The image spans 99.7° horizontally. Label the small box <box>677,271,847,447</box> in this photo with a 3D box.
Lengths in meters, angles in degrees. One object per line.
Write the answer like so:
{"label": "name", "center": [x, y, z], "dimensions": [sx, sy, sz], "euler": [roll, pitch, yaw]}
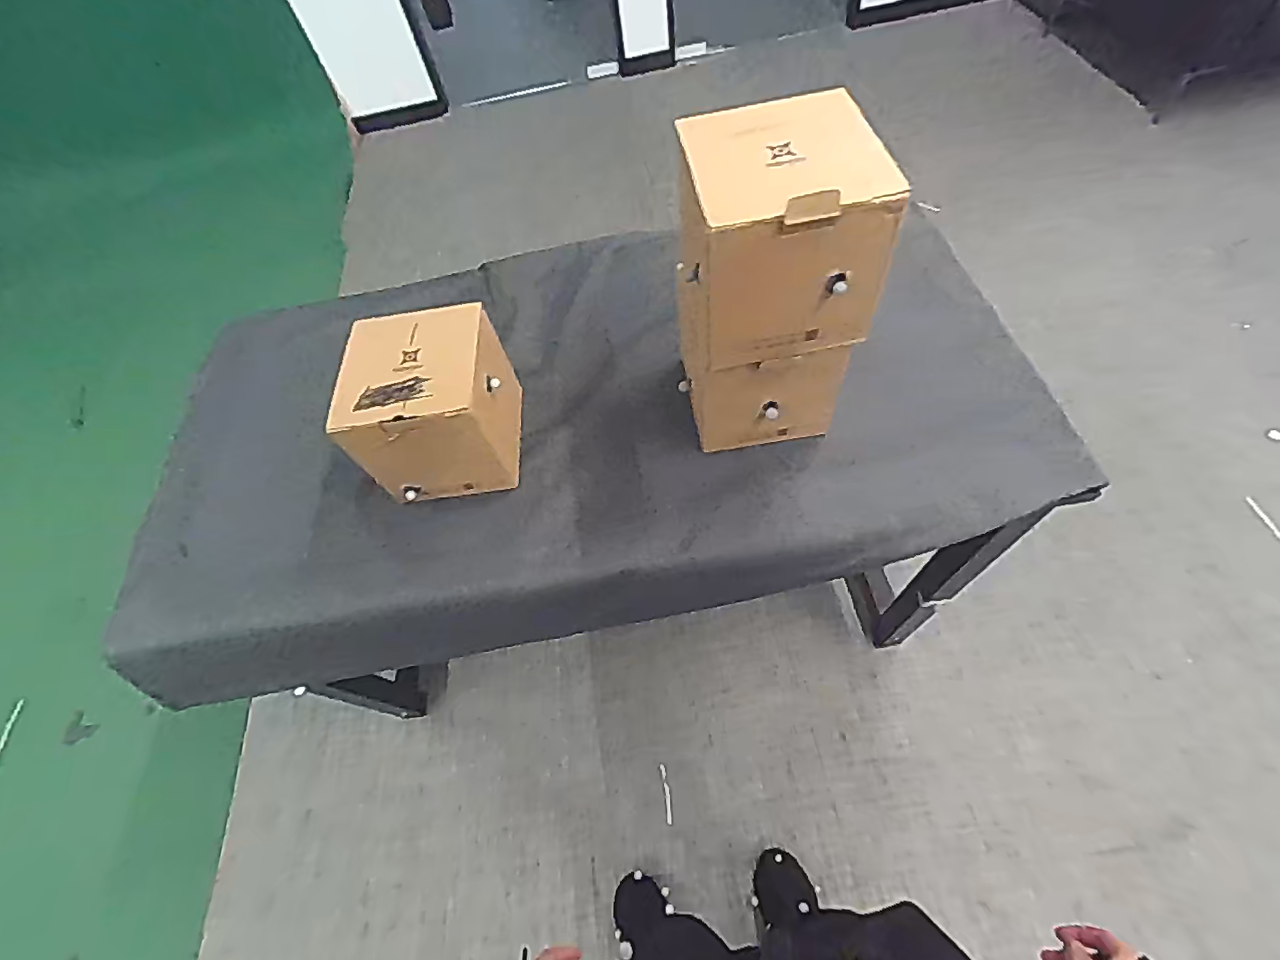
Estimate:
{"label": "small box", "center": [0.144, -0.156, 0.689], "dimensions": [0.168, 0.176, 0.179], "euler": [-9, 58, 2]}

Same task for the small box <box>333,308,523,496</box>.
{"label": "small box", "center": [-0.257, -0.090, 0.704], "dimensions": [0.168, 0.176, 0.179], "euler": [-7, 57, 3]}

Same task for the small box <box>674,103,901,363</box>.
{"label": "small box", "center": [0.132, -0.237, 0.548], "dimensions": [0.168, 0.176, 0.179], "euler": [-9, 57, 1]}
